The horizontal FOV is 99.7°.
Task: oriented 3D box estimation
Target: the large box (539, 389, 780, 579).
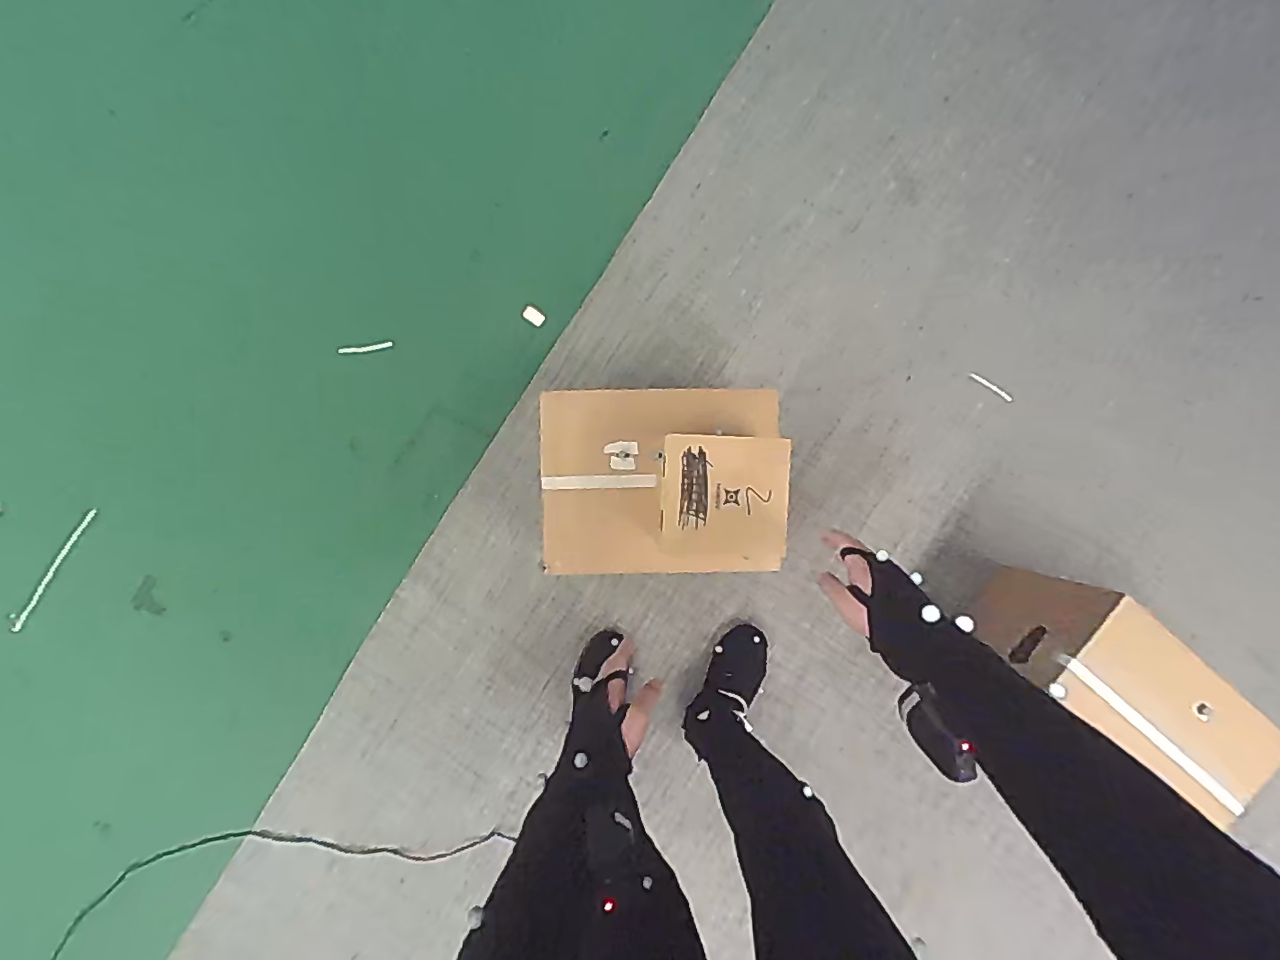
[{"bbox_3d":[0.034,0.006,1.059,0.408,0.320,0.320,-1,89,0],"label":"large box"}]
